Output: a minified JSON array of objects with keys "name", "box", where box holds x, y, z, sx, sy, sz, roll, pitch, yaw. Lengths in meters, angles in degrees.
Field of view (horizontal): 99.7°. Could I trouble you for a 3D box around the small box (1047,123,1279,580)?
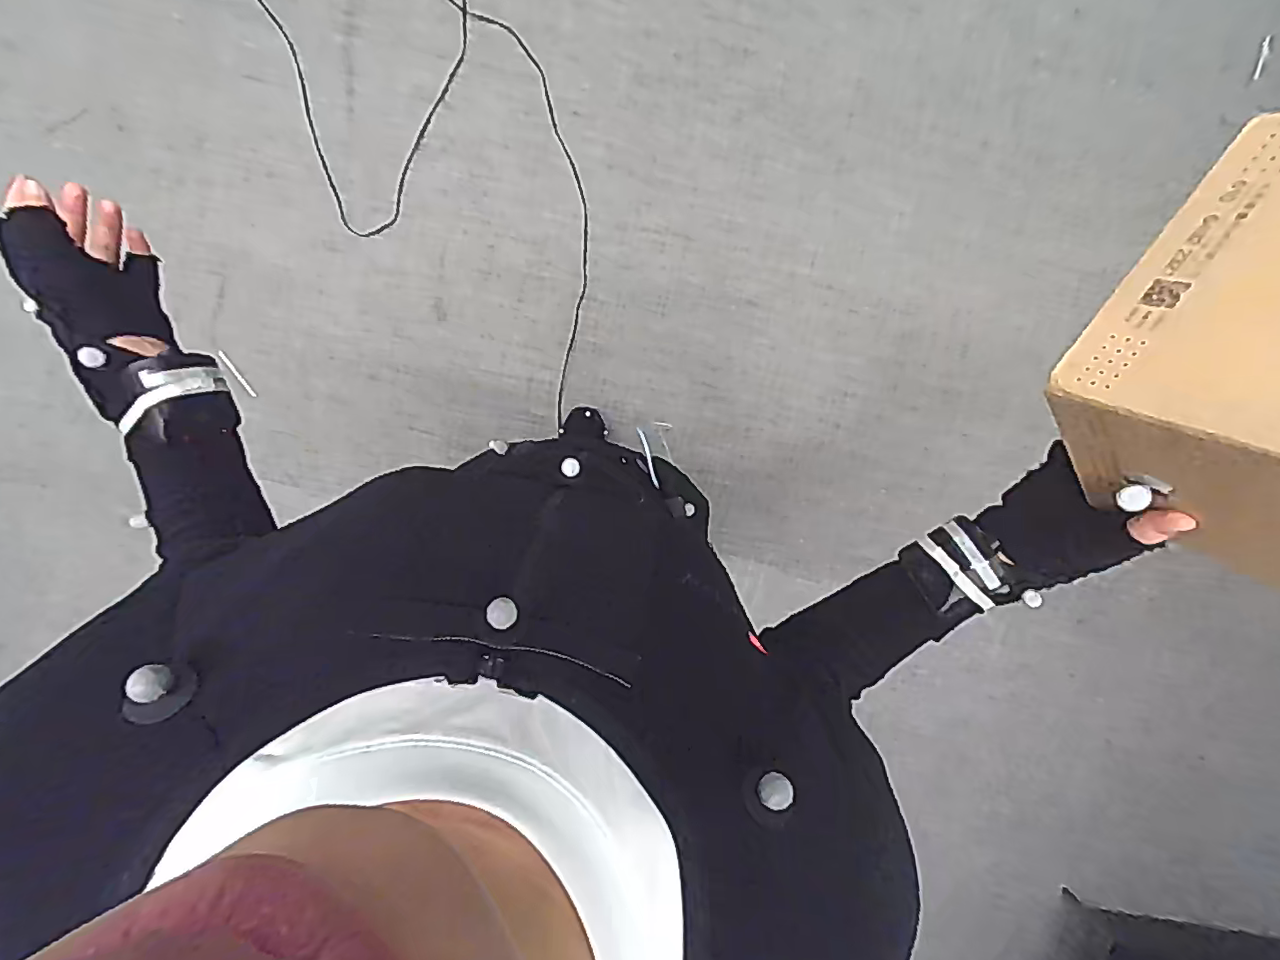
[{"name":"small box","box":[0.348,-0.050,0.266,0.179,0.176,0.168,31,97,-40]}]
